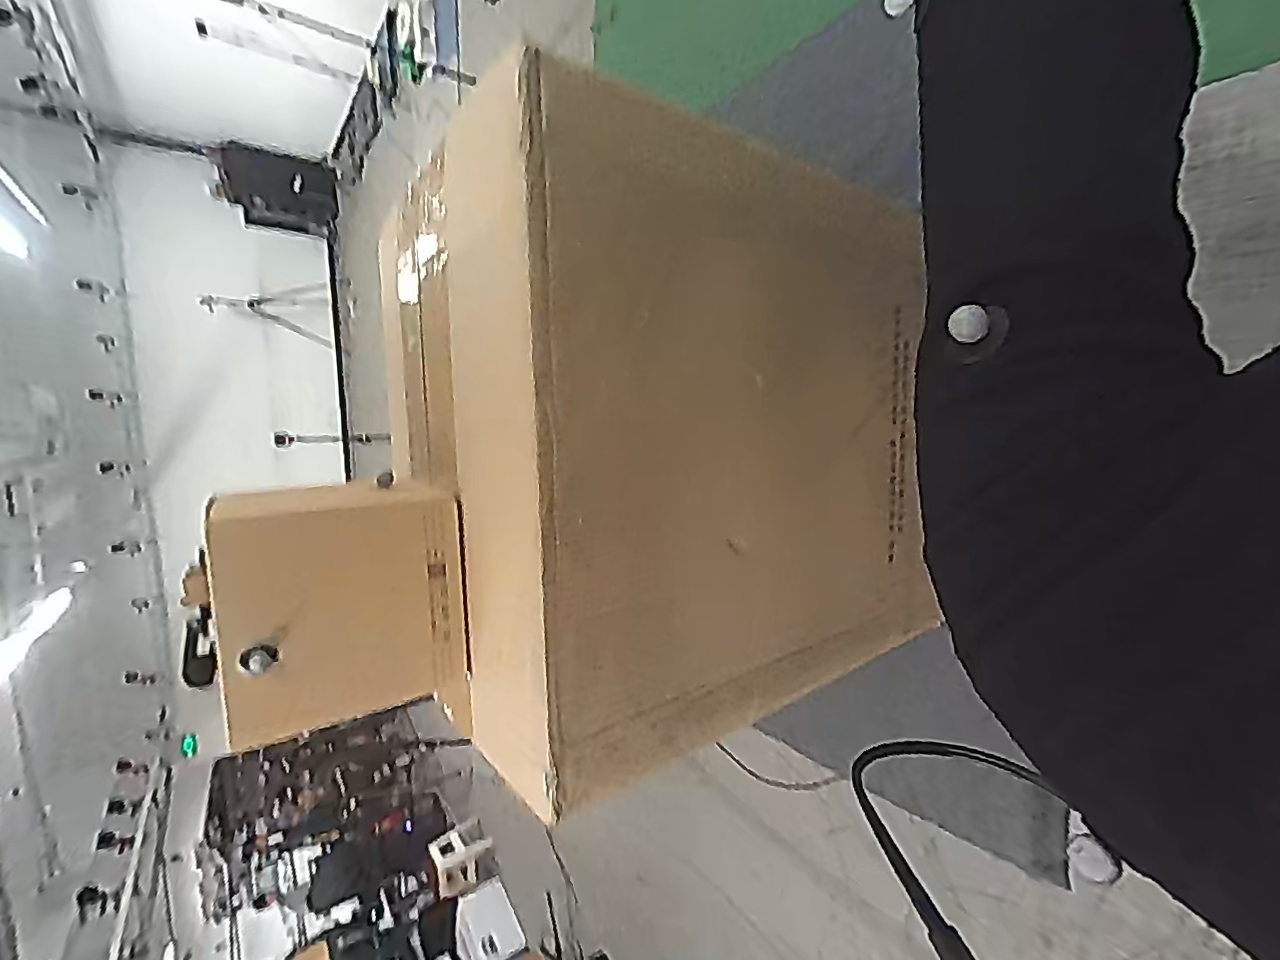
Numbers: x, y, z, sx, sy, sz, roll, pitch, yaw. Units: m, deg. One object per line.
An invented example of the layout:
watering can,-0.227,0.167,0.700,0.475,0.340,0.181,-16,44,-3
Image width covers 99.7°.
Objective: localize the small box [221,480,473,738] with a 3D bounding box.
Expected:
small box,-0.257,0.090,0.482,0.179,0.176,0.168,7,100,55
